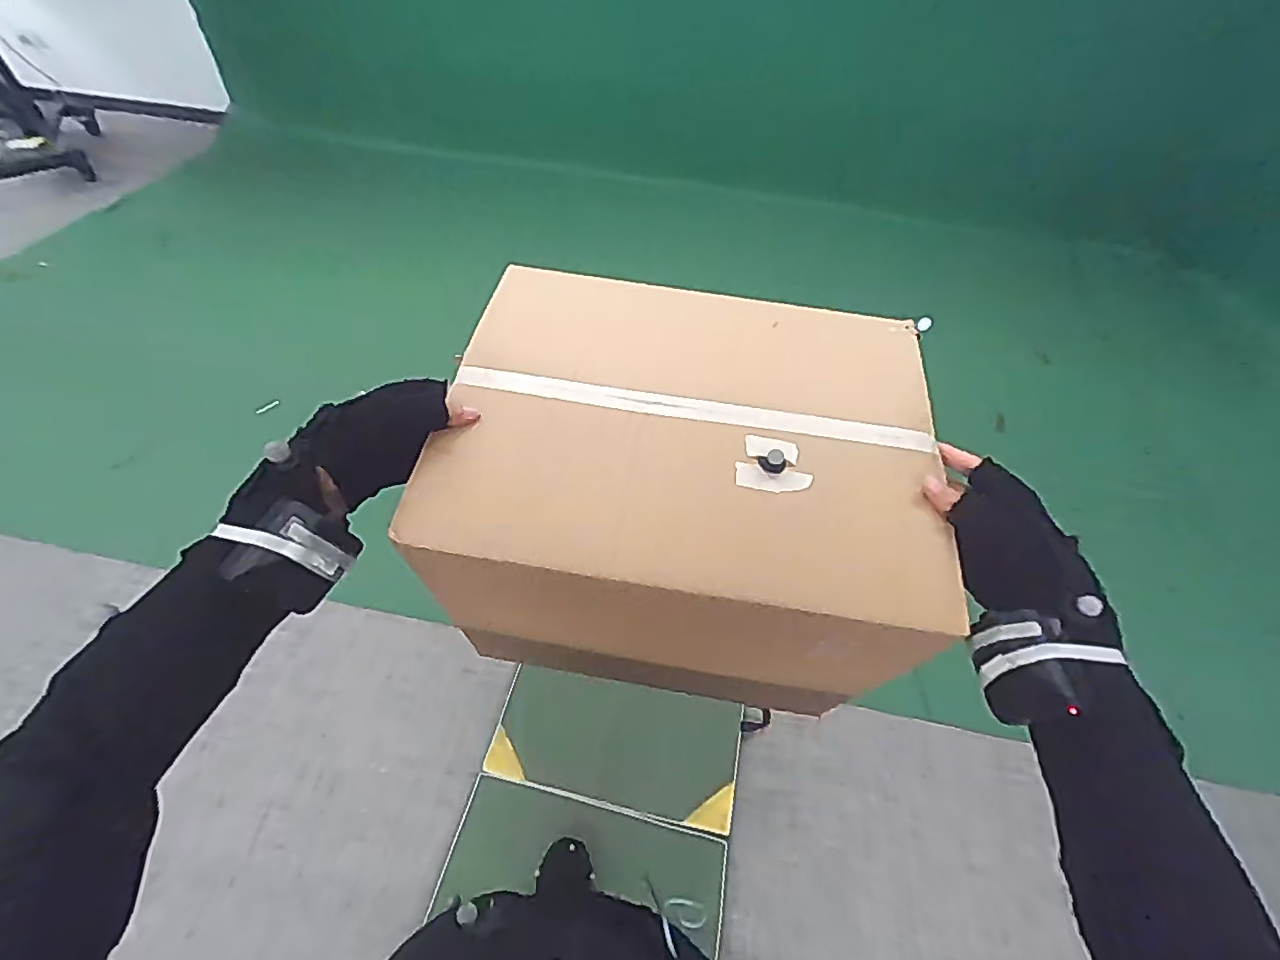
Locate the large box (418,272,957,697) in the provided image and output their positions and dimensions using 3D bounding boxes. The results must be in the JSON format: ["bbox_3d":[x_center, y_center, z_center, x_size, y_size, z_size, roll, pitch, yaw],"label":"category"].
[{"bbox_3d":[0.041,0.021,0.592,0.408,0.320,0.320,9,58,2],"label":"large box"}]
